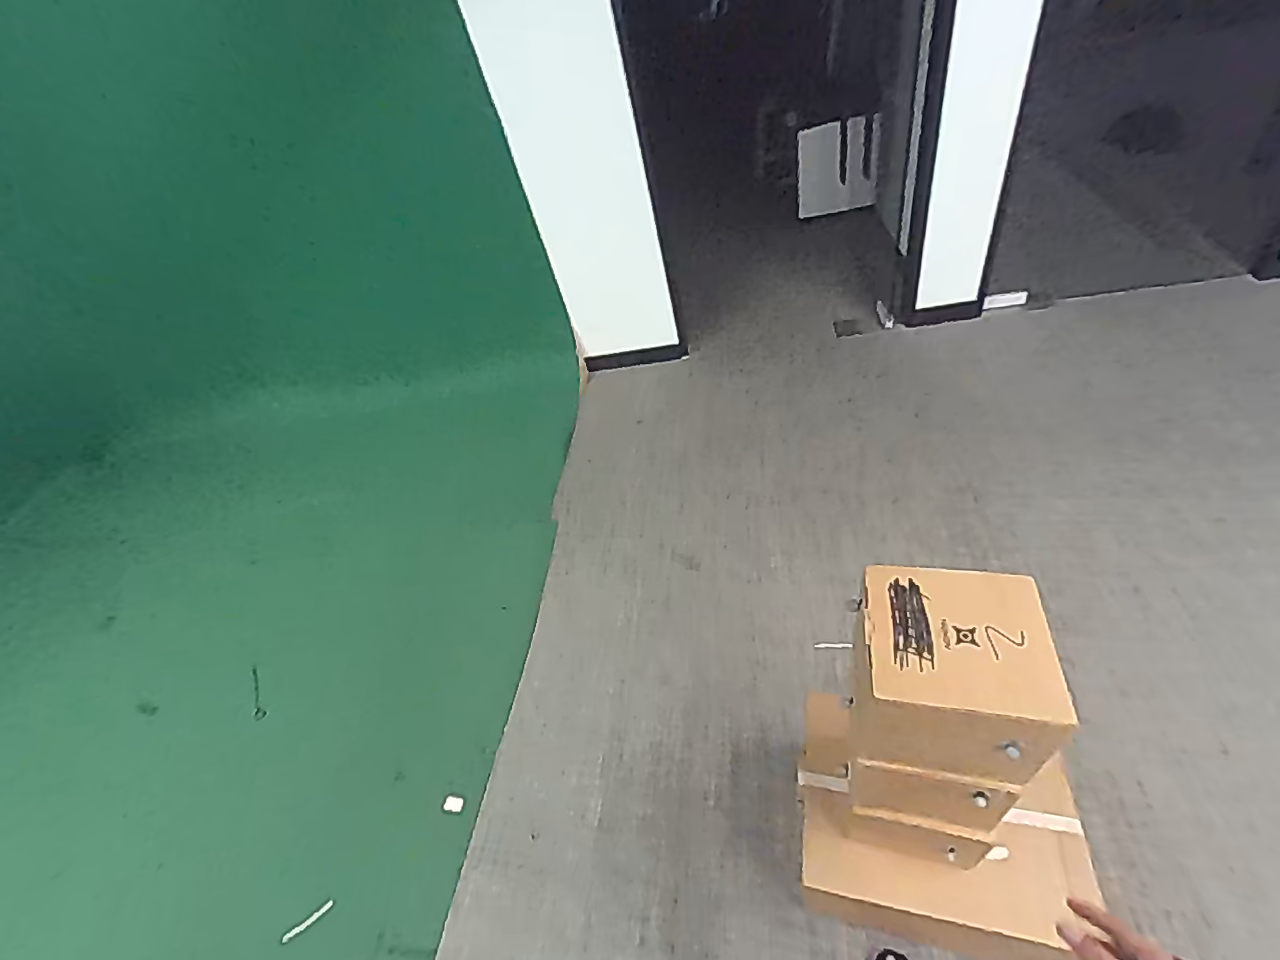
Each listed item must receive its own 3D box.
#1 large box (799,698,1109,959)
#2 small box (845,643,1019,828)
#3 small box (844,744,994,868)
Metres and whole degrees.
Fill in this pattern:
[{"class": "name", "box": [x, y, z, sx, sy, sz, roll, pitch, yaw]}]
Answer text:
[{"class": "large box", "box": [0.502, 0.631, 0.982, 0.408, 0.320, 0.320, 1, 47, 17]}, {"class": "small box", "box": [0.372, 0.342, 0.727, 0.179, 0.176, 0.168, 1, 45, 18]}, {"class": "small box", "box": [0.409, 0.466, 0.825, 0.179, 0.176, 0.168, 0, 45, 19]}]
